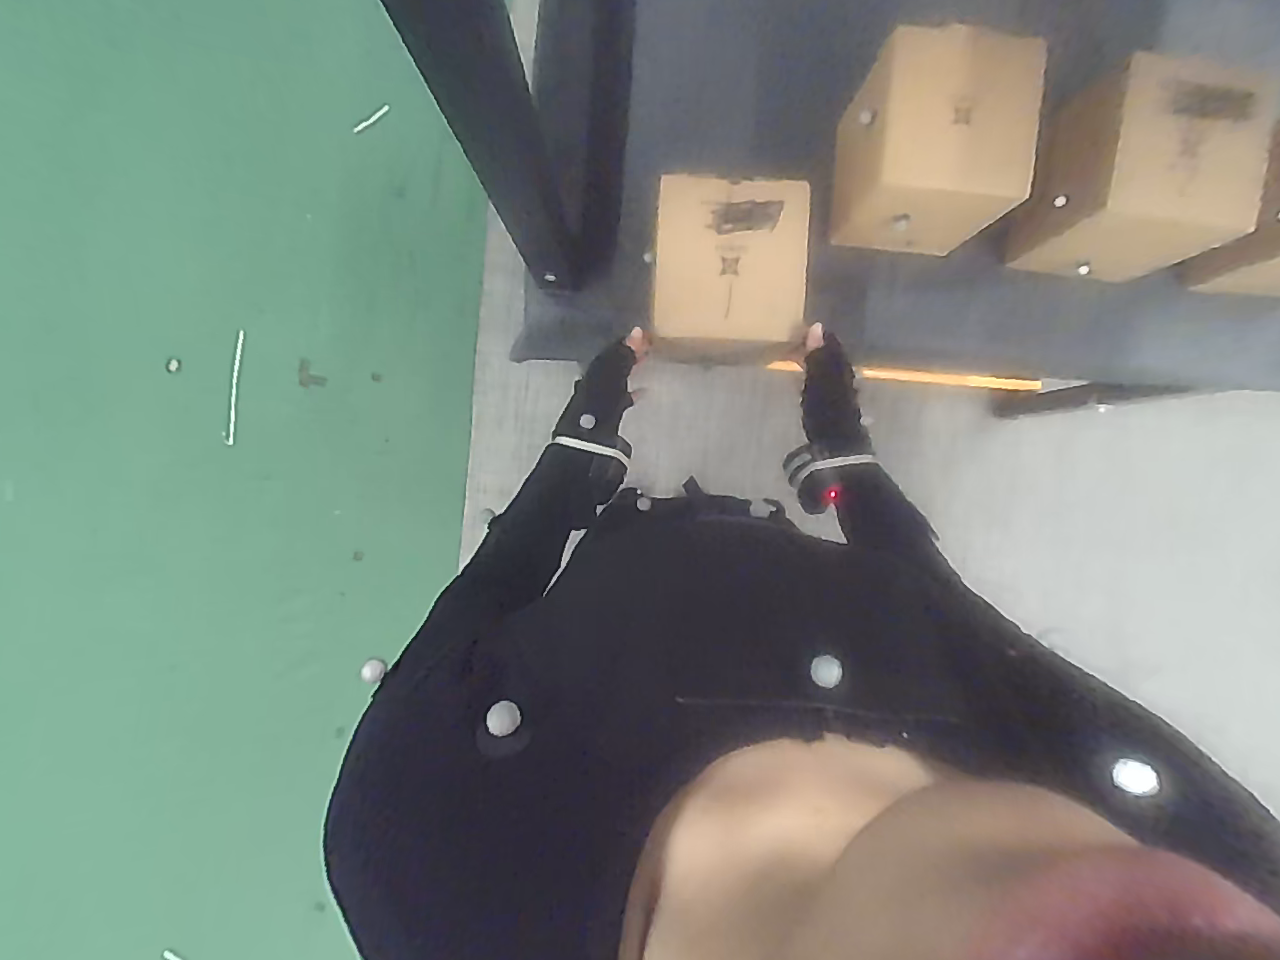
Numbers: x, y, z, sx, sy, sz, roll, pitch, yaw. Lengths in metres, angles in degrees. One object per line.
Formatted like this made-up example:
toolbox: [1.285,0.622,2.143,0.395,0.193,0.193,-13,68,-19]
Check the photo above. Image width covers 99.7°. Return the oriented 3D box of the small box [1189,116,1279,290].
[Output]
small box: [0.842,-0.347,0.667,0.168,0.176,0.179,4,90,0]

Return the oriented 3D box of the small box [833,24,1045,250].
small box: [0.352,-0.407,0.671,0.168,0.176,0.179,5,91,0]

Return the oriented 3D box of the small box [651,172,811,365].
small box: [0.101,-0.248,0.672,0.168,0.176,0.179,3,93,0]
